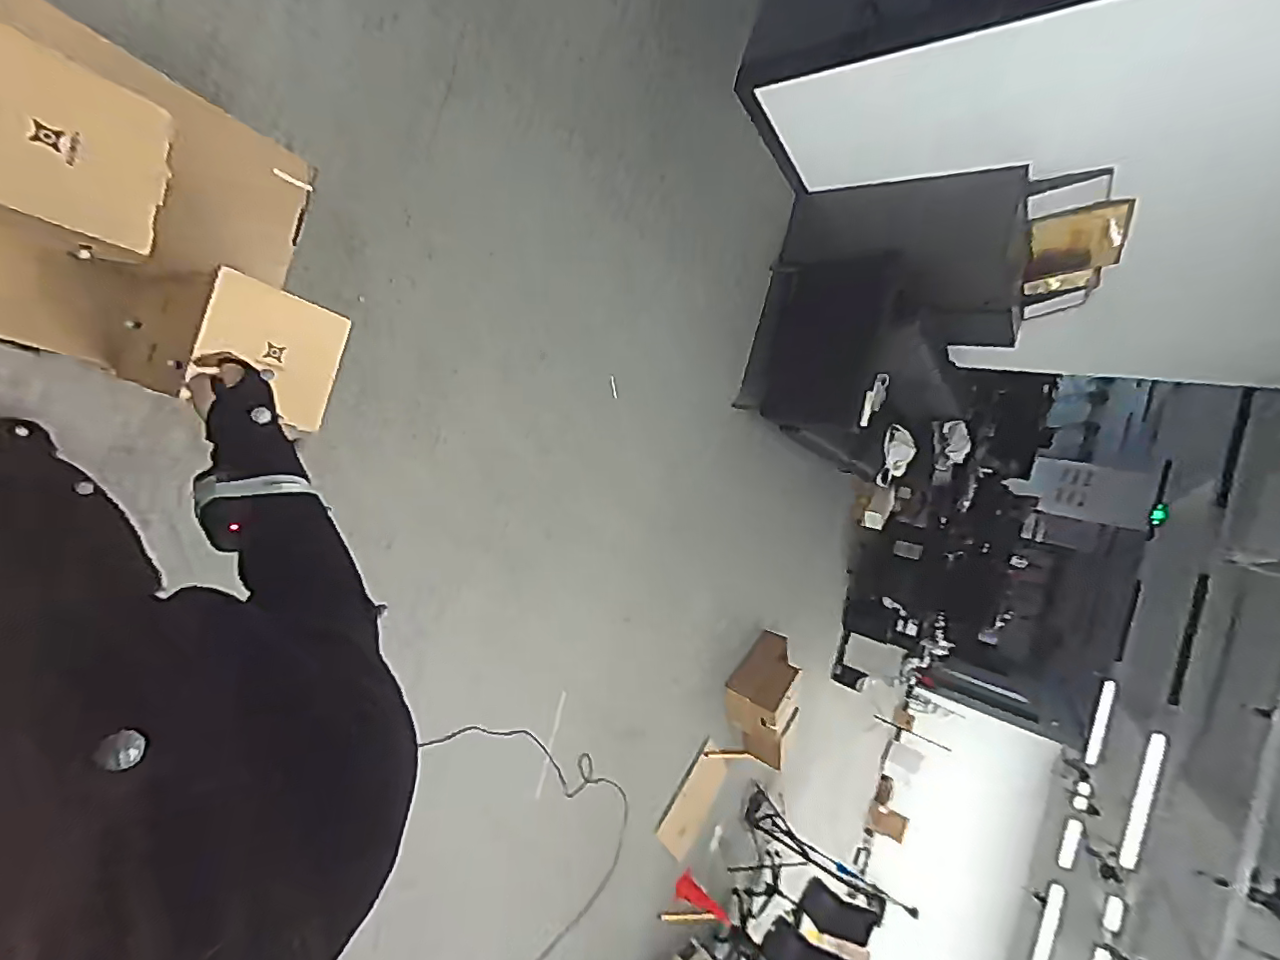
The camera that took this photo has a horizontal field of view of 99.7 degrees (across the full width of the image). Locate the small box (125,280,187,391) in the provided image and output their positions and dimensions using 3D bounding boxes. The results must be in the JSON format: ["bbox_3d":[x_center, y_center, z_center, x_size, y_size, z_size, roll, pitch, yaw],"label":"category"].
[{"bbox_3d":[-0.679,-0.207,0.873,0.179,0.176,0.168,18,86,-54],"label":"small box"}]

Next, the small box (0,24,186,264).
[{"bbox_3d":[-0.650,-0.354,0.598,0.179,0.176,0.168,13,89,-52],"label":"small box"}]

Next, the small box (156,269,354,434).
[{"bbox_3d":[-0.551,-0.180,0.775,0.168,0.176,0.179,19,87,-54],"label":"small box"}]
